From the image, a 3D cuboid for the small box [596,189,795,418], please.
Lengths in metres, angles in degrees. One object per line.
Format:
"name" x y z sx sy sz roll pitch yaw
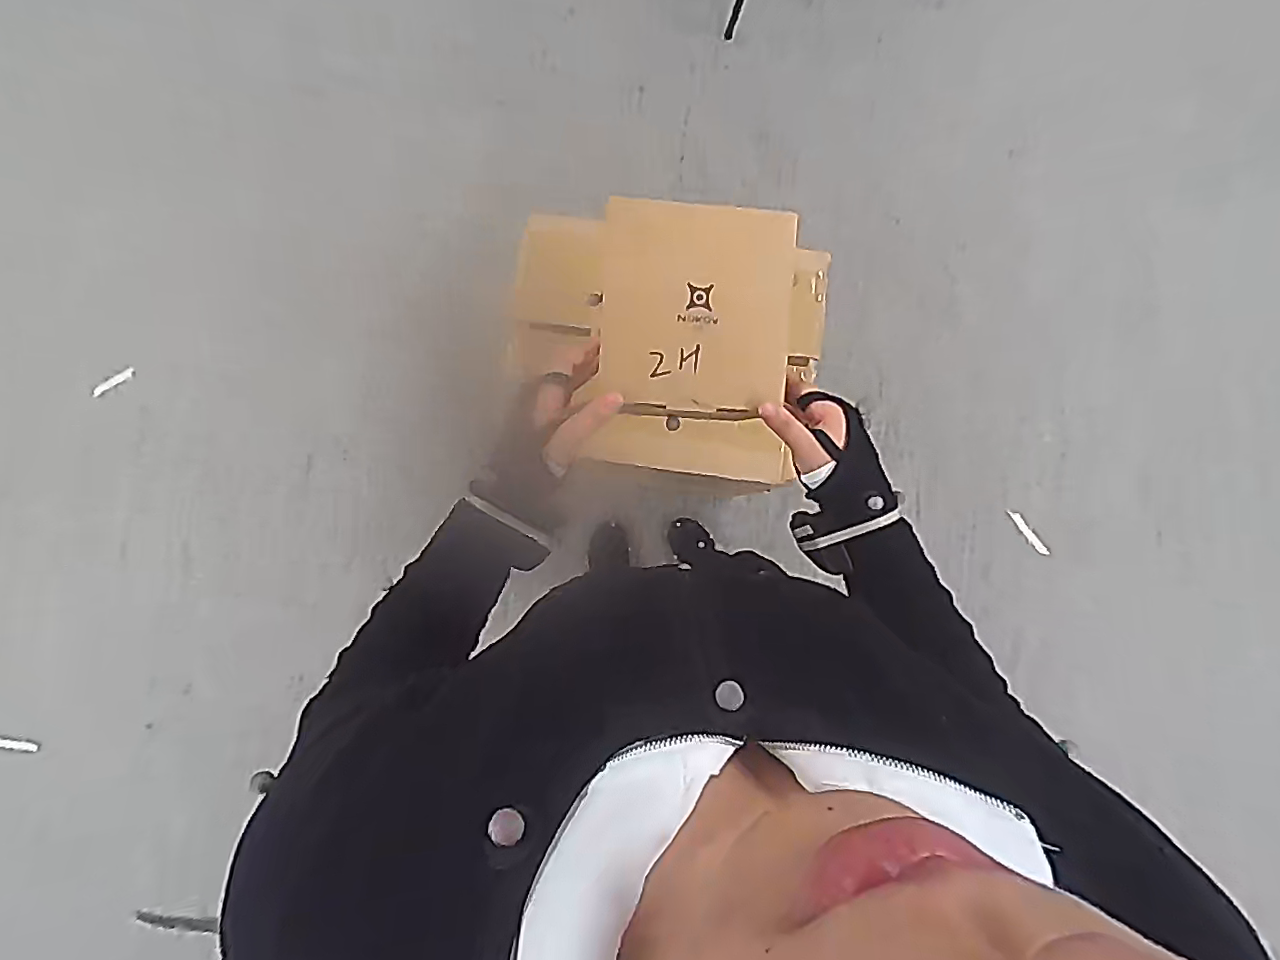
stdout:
"small box" 0.042 -0.159 0.544 0.168 0.176 0.179 3 94 -4
